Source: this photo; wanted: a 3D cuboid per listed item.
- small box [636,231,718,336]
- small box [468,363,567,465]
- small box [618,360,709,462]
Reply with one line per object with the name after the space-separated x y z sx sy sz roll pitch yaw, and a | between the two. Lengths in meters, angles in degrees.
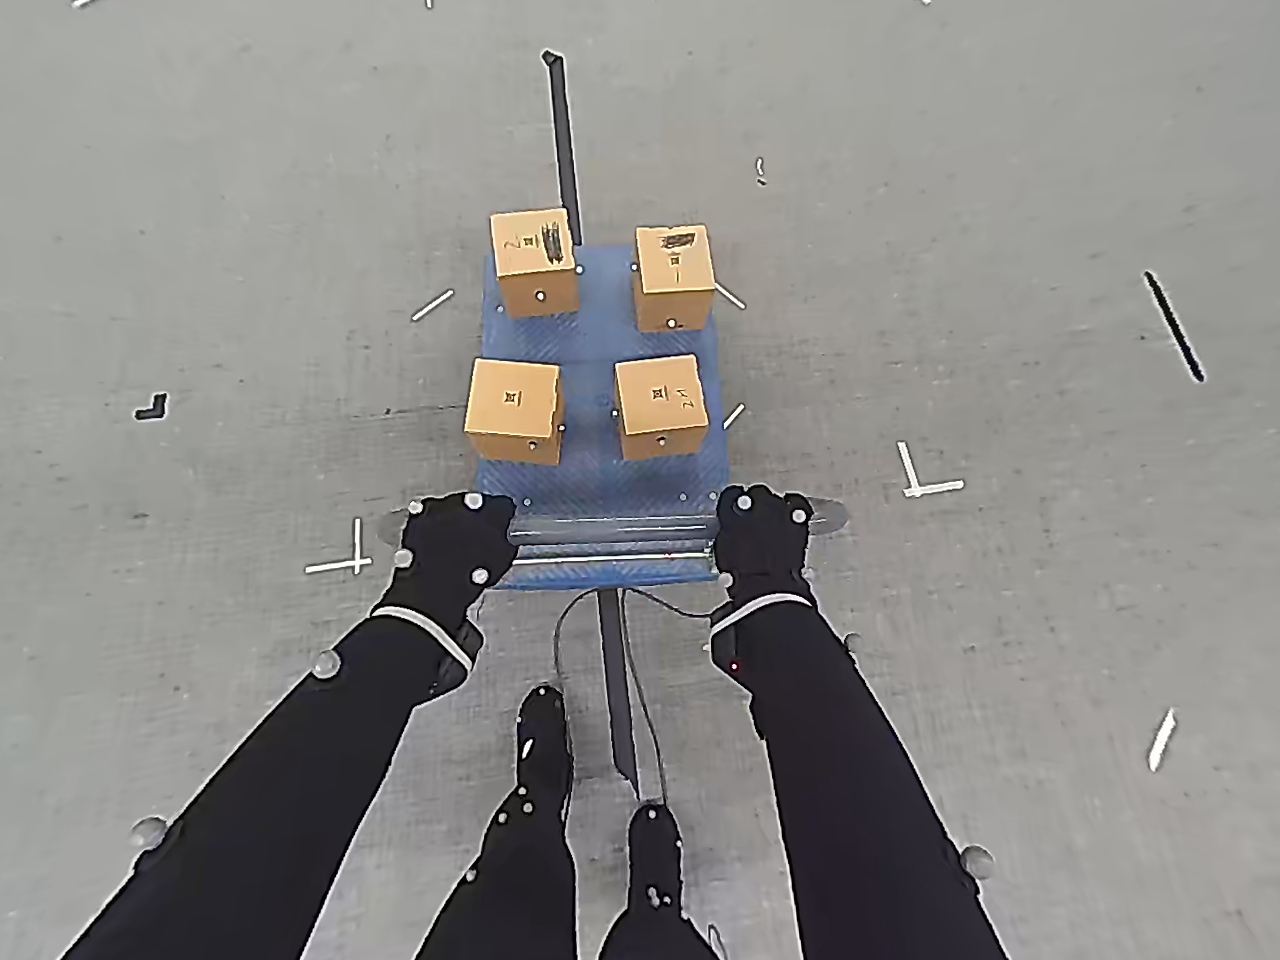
0.082 -0.470 1.304 0.168 0.176 0.179 -5 75 -5 | small box
-0.259 -0.138 1.186 0.179 0.176 0.168 5 73 -4 | small box
0.045 -0.147 1.207 0.179 0.176 0.168 -7 74 -5 | small box
